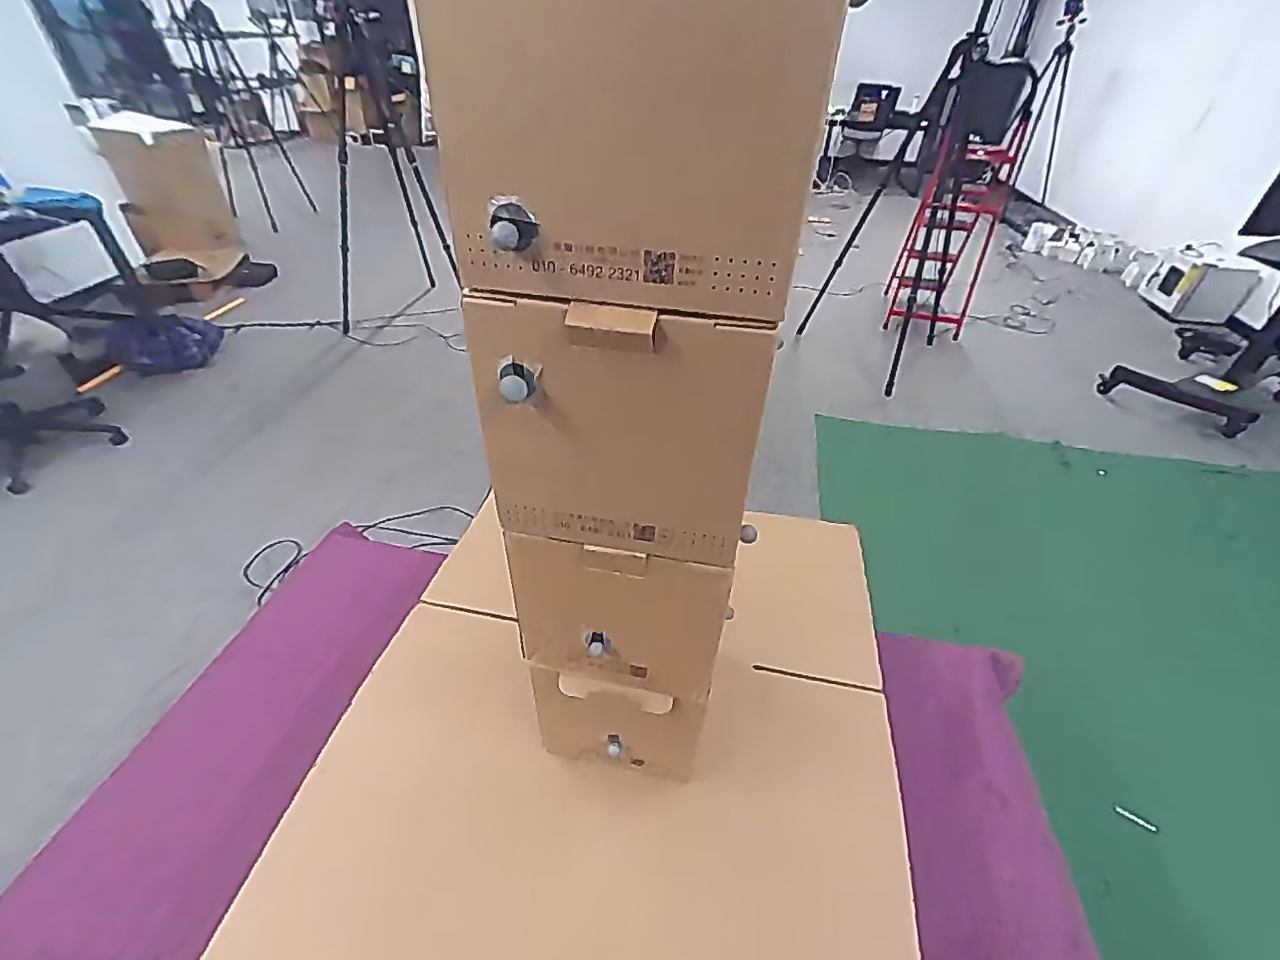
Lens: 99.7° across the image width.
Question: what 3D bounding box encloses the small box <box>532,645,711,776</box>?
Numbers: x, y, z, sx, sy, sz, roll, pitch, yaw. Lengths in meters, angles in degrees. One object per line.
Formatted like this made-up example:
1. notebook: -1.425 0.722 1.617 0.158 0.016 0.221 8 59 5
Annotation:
1. small box: -0.007 0.187 0.595 0.168 0.176 0.179 8 39 8

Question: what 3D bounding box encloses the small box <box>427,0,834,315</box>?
1. small box: 0.008 -0.201 0.292 0.168 0.176 0.179 9 38 8

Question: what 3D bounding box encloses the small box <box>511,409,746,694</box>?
1. small box: -0.003 0.060 0.493 0.168 0.176 0.179 9 39 8
